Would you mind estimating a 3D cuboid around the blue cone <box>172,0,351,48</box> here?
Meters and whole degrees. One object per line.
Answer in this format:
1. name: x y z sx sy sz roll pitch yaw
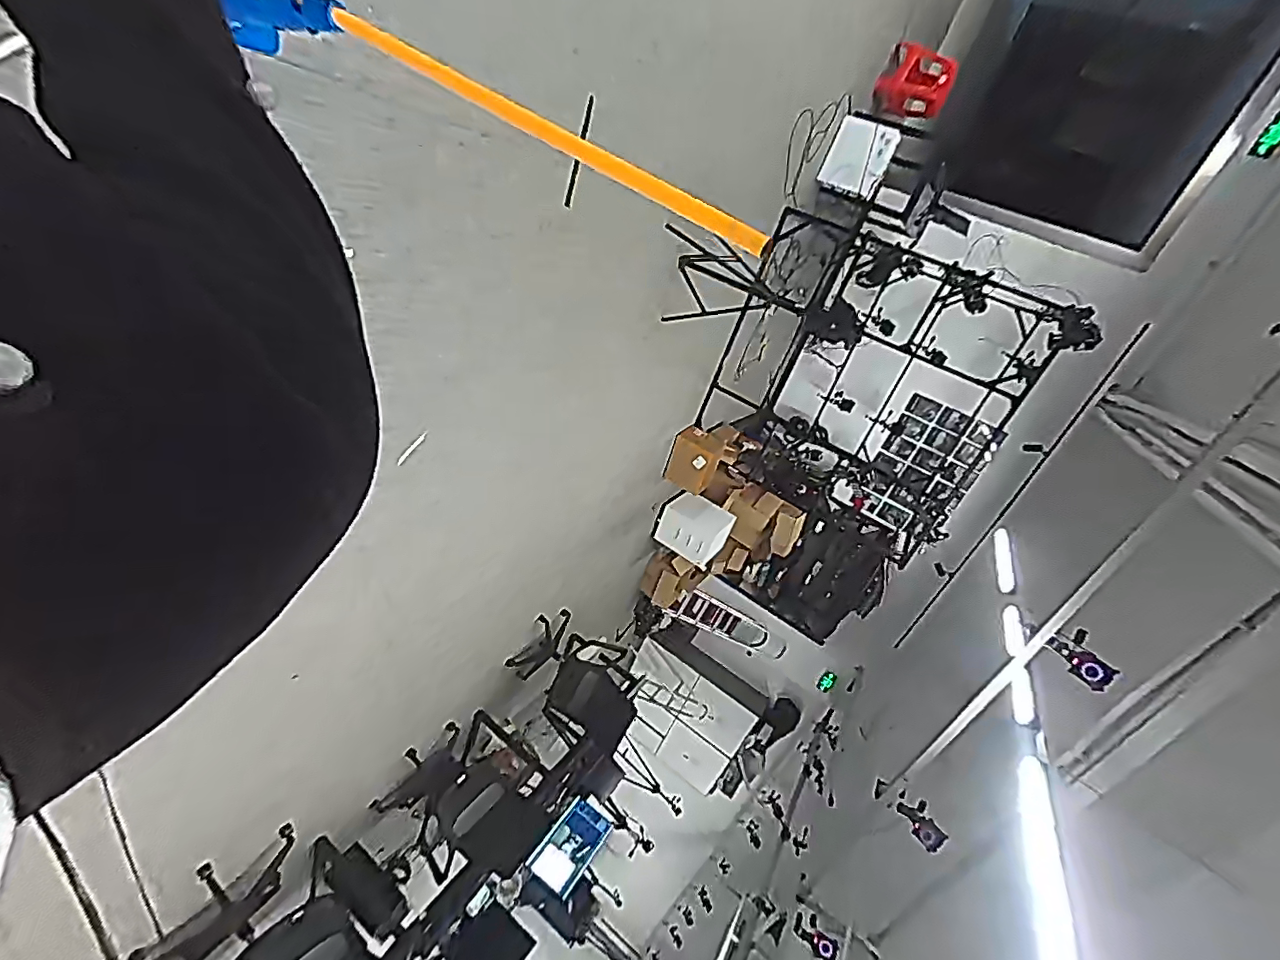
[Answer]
1. blue cone: -0.641 -0.858 0.952 0.193 0.380 0.192 -31 146 -53
